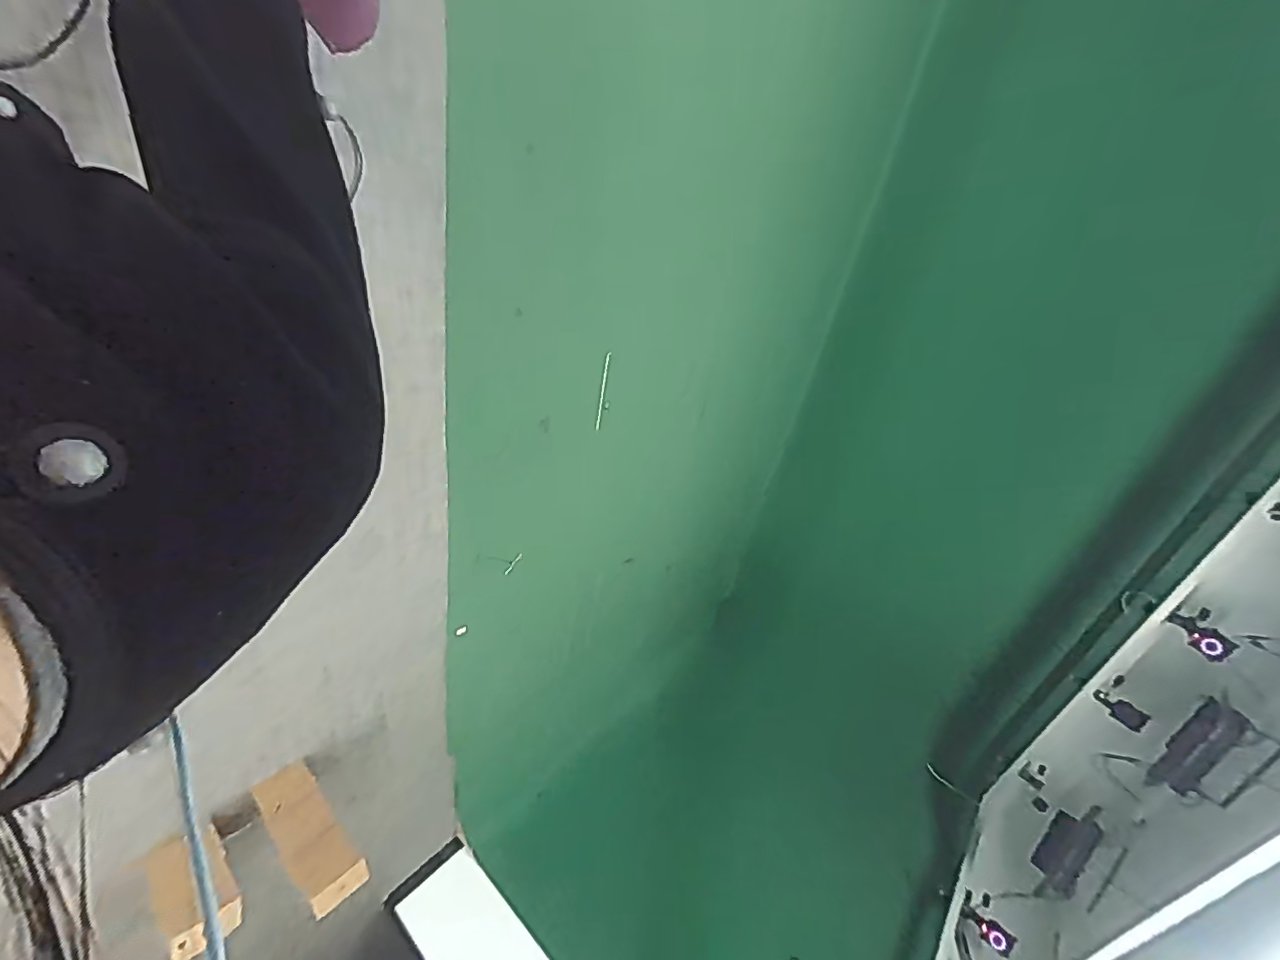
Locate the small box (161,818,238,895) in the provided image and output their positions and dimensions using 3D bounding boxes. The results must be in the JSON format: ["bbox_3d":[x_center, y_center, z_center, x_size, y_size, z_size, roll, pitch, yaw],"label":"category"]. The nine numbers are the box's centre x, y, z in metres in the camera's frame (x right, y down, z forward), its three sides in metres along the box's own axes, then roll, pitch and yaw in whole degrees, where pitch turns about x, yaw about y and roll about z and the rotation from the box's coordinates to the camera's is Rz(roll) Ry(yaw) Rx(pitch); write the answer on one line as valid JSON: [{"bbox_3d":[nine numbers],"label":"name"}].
[{"bbox_3d":[-1.483,1.297,1.824,0.168,0.176,0.179,-15,128,-51],"label":"small box"}]

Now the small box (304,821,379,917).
[{"bbox_3d":[-1.037,1.342,1.873,0.179,0.176,0.168,-27,138,-45],"label":"small box"}]

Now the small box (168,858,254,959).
[{"bbox_3d":[-1.369,1.371,1.729,0.179,0.176,0.168,-16,128,-52],"label":"small box"}]
